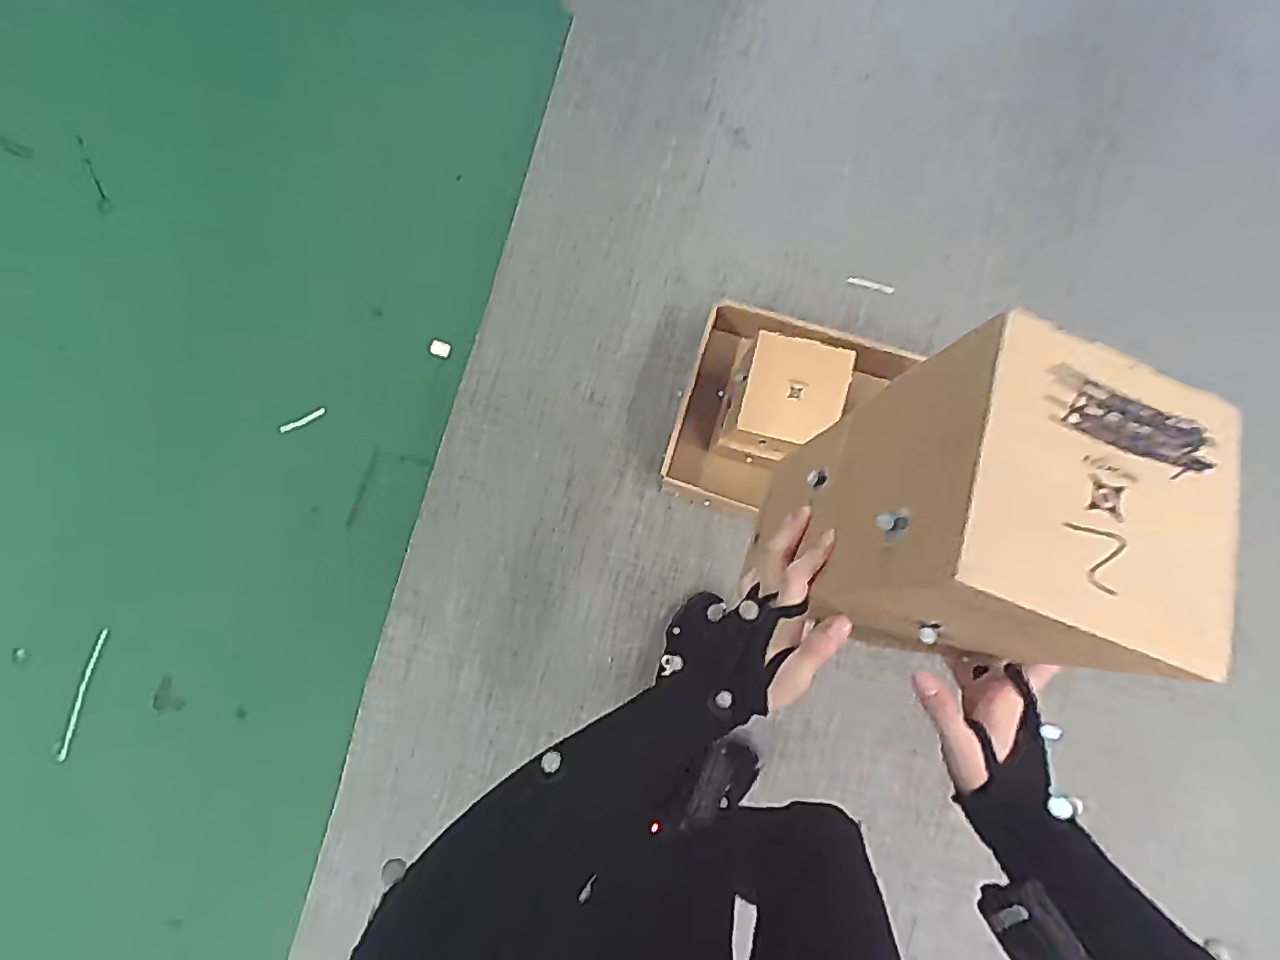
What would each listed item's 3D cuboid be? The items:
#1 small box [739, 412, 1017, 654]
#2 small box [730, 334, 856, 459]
[{"bbox_3d":[0.225,0.059,0.546,0.179,0.176,0.168,22,74,-4],"label":"small box"},{"bbox_3d":[0.264,-0.137,0.976,0.168,0.176,0.179,14,87,3],"label":"small box"}]
